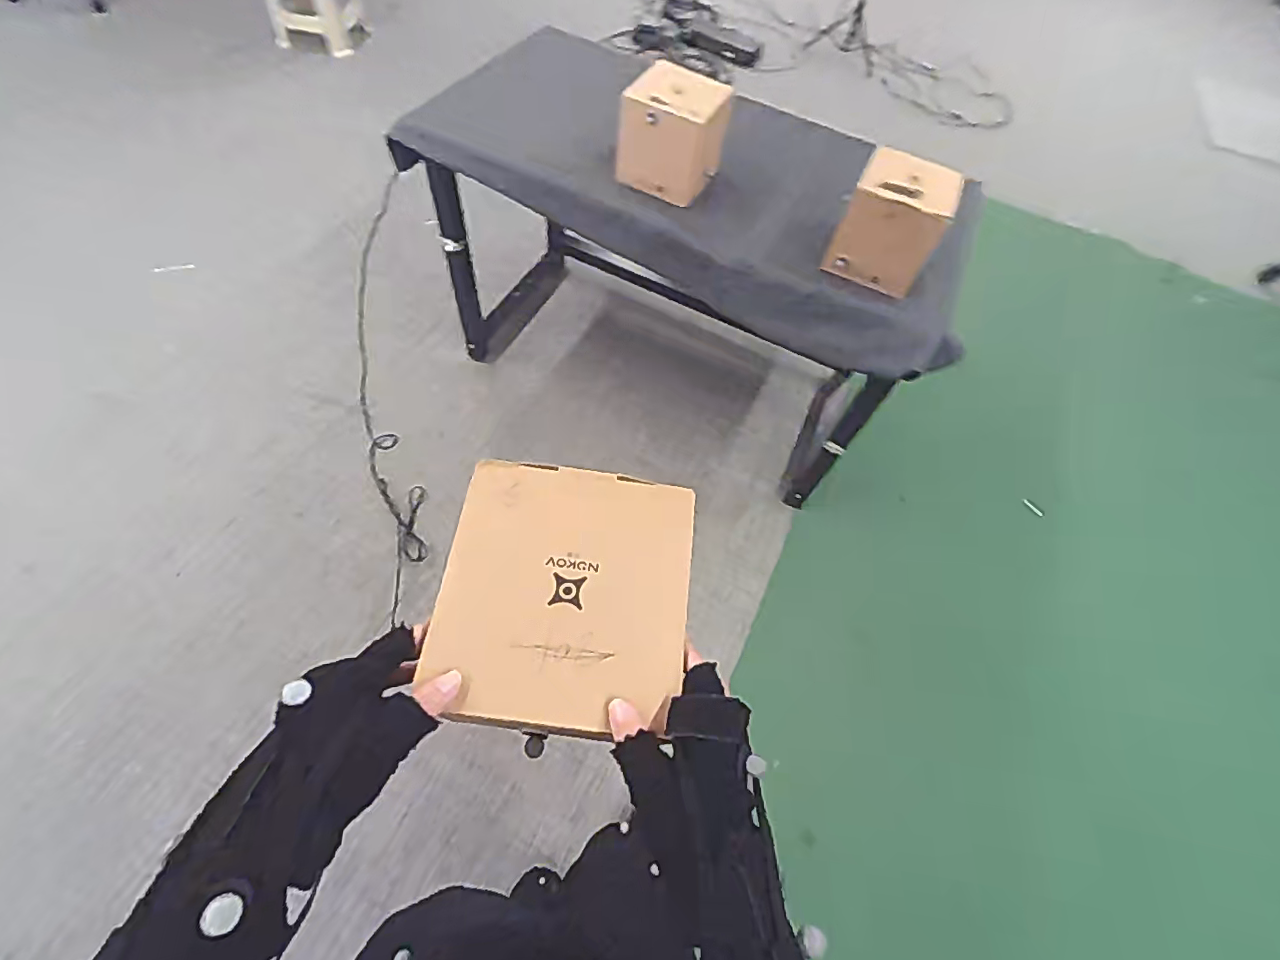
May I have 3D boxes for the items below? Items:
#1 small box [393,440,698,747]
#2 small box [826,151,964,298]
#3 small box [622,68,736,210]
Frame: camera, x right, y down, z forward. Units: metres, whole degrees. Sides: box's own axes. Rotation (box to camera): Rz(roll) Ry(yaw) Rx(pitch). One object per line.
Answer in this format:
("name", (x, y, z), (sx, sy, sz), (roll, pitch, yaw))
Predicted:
("small box", (-0.058, 0.097, 0.418), (0.168, 0.176, 0.179), (9, 62, -1))
("small box", (0.475, -0.480, 1.026), (0.168, 0.176, 0.179), (26, 58, 9))
("small box", (0.072, -0.690, 1.101), (0.168, 0.176, 0.179), (26, 59, 8))
